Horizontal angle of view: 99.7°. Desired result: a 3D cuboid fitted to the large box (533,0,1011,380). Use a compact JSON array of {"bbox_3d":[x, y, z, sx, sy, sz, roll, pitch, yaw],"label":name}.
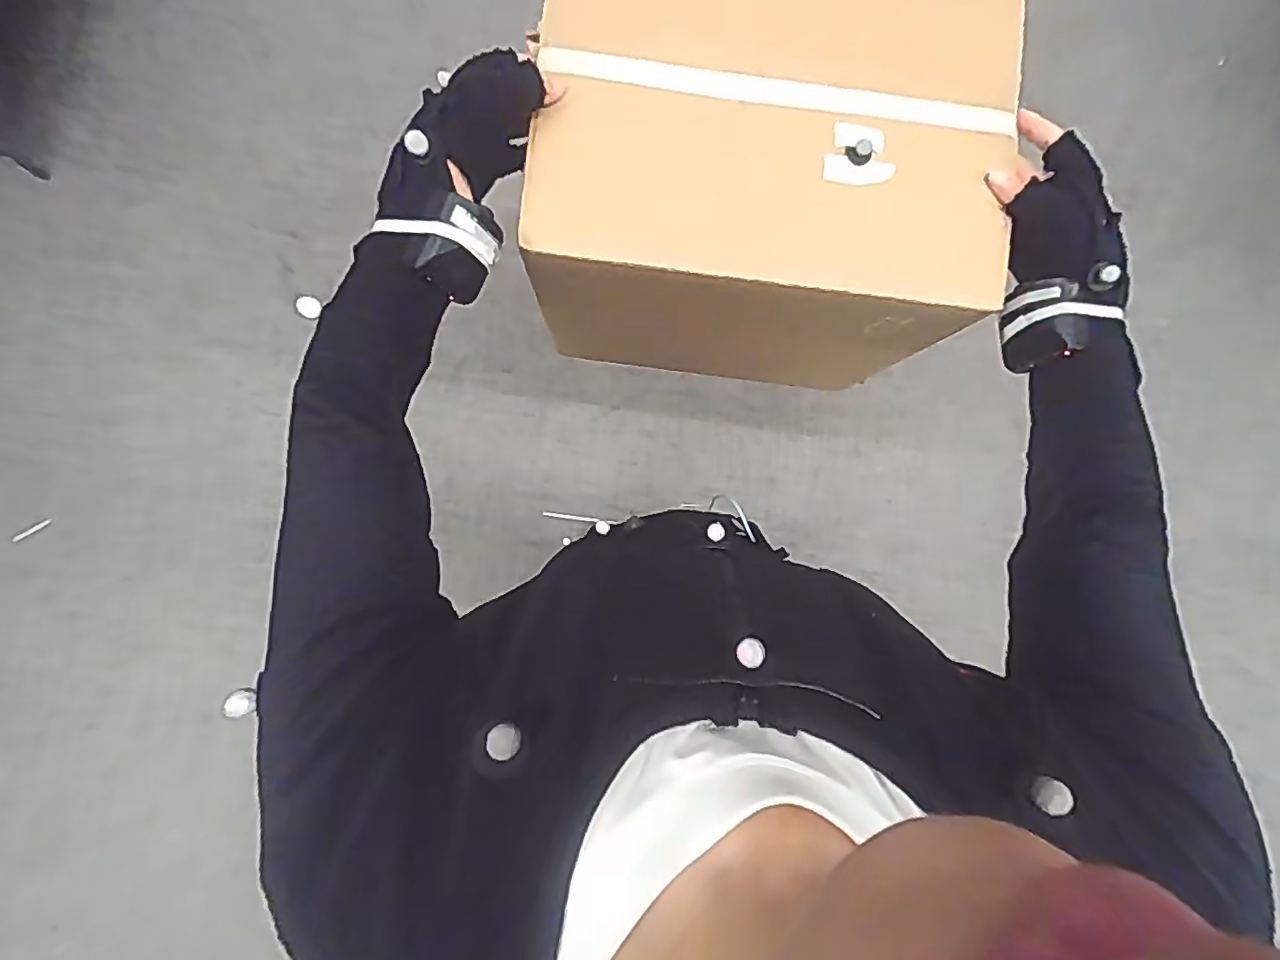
[{"bbox_3d":[0.110,-0.316,0.609,0.408,0.320,0.320,6,87,-3],"label":"large box"}]
